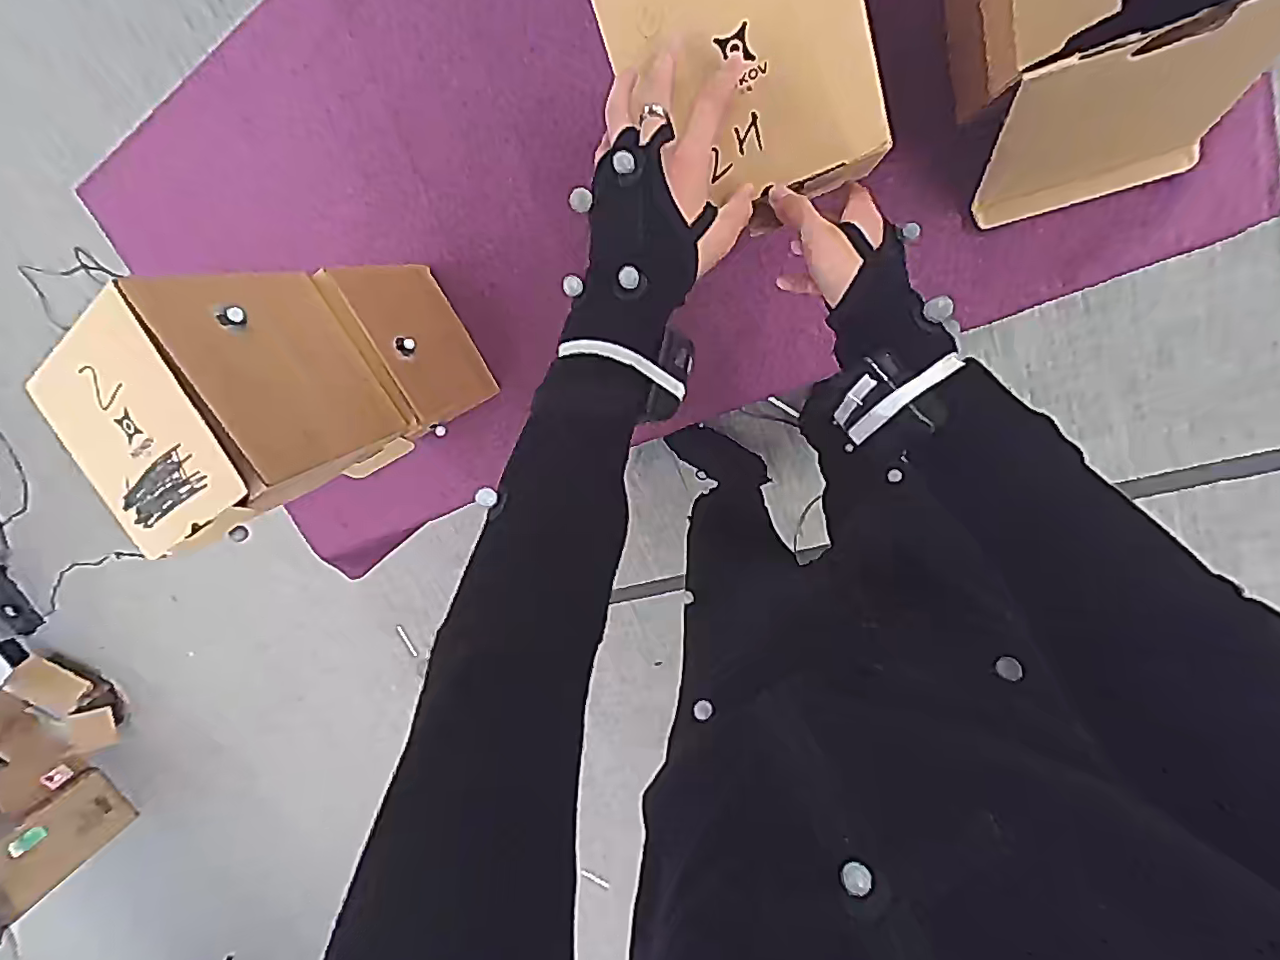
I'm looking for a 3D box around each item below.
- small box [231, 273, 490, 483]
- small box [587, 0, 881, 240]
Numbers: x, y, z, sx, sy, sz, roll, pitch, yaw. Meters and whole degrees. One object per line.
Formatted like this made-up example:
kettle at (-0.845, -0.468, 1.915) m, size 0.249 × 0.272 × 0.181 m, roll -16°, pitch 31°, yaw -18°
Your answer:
small box at (-0.312, -0.127, 0.640) m, size 0.168 × 0.176 × 0.179 m, roll -22°, pitch 104°, yaw 23°
small box at (0.083, -0.311, 0.439) m, size 0.168 × 0.176 × 0.179 m, roll -14°, pitch 108°, yaw 22°
